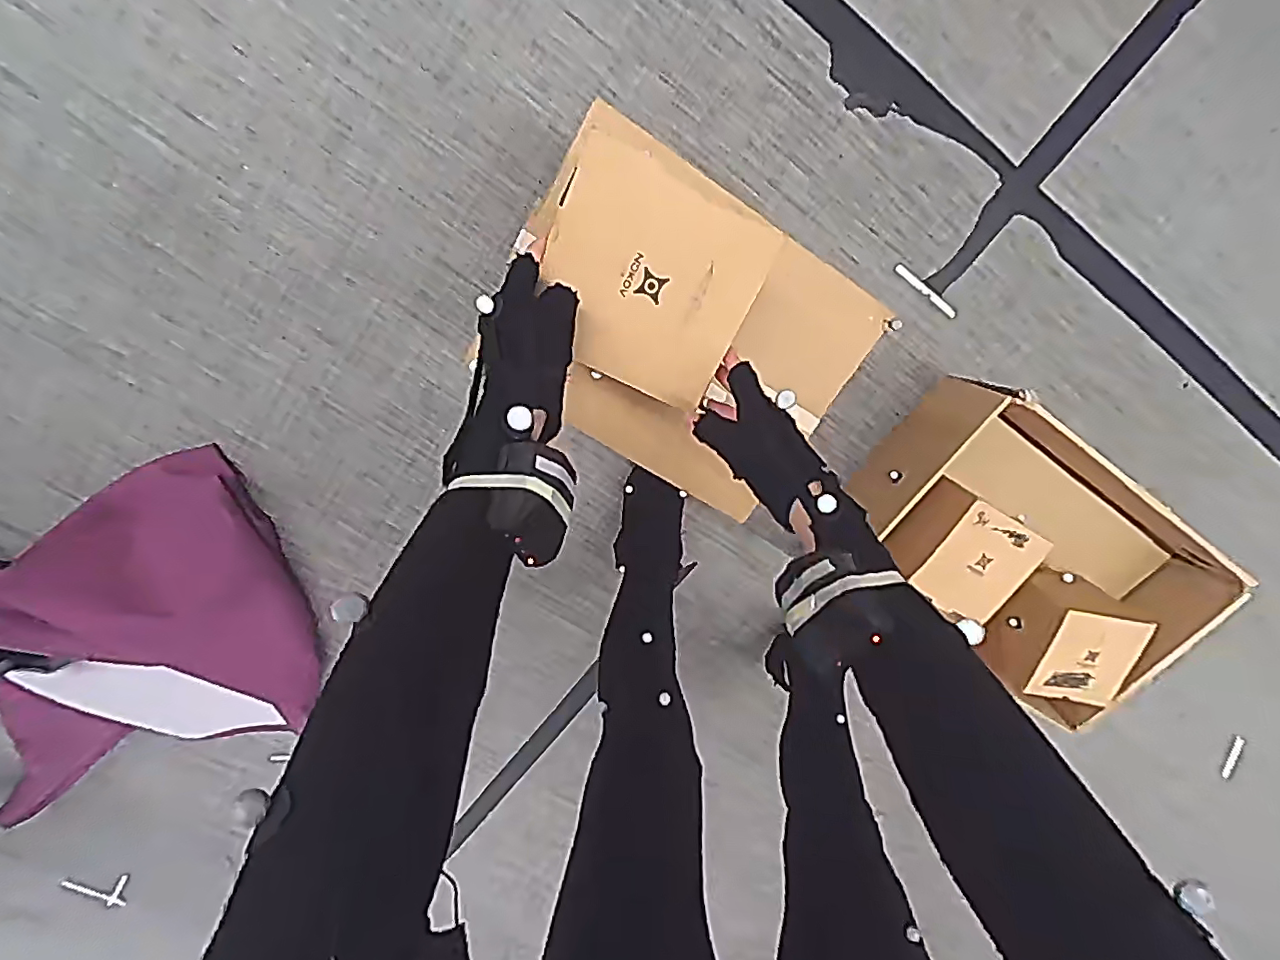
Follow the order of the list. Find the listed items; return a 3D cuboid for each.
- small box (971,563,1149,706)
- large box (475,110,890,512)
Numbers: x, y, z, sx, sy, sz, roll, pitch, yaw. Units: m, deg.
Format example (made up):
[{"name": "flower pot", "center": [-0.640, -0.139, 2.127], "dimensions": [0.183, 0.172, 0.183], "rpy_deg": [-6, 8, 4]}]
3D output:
[{"name": "small box", "center": [0.755, 0.280, 1.000], "dimensions": [0.168, 0.176, 0.179], "rpy_deg": [11, 109, -5]}, {"name": "large box", "center": [0.041, -0.220, 0.774], "dimensions": [0.408, 0.320, 0.320], "rpy_deg": [29, 107, -12]}]
